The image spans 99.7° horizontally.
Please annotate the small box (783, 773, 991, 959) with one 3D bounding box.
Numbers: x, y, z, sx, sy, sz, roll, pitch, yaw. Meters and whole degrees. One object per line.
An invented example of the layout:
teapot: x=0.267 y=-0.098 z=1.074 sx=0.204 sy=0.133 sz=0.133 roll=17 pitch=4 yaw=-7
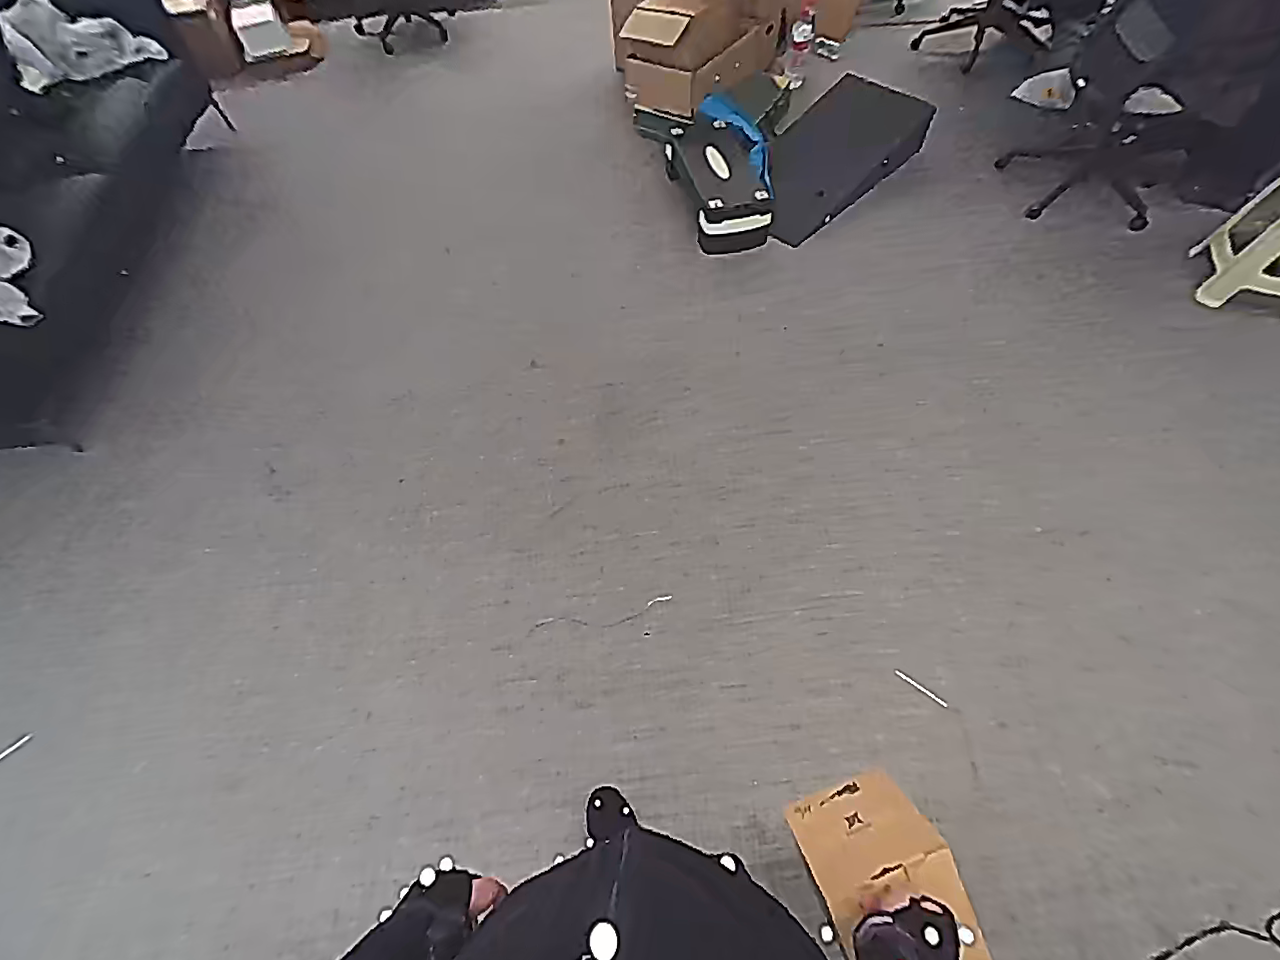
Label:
small box: x=0.326 y=0.551 z=0.733 sx=0.168 sy=0.179 sz=0.176 roll=-24 pitch=92 yaw=-3
